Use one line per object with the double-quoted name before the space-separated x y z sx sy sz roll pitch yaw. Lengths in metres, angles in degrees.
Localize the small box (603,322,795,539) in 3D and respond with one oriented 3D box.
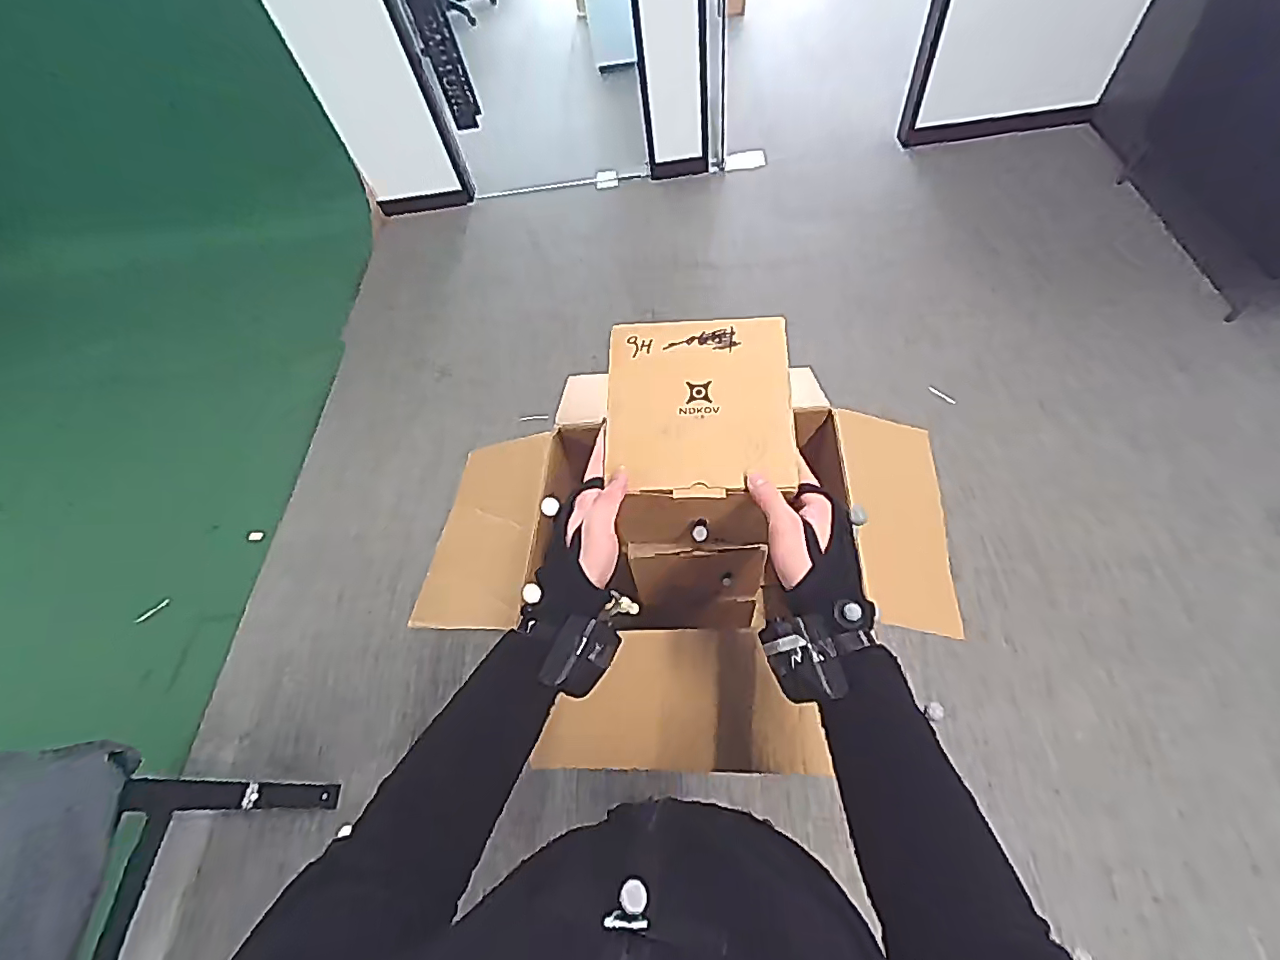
"small box" 0.060 -0.038 0.557 0.168 0.176 0.179 -1 71 6
